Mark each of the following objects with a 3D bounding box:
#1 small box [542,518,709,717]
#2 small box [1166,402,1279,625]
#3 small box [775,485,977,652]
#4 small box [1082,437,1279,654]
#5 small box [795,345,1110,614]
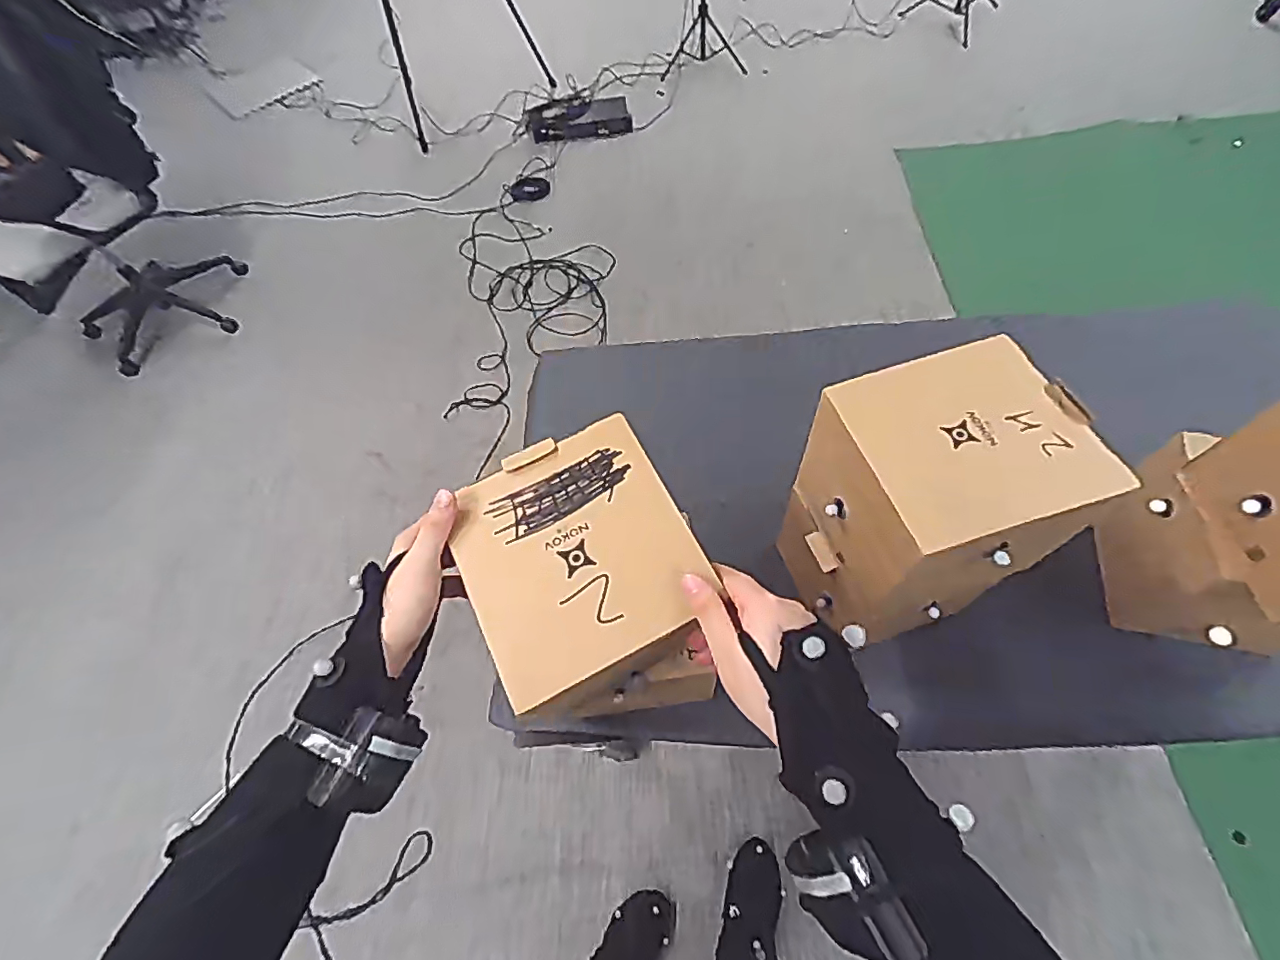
[{"bbox_3d":[-0.017,0.167,0.639,0.168,0.176,0.179,-9,59,1],"label":"small box"},{"bbox_3d":[0.633,0.016,0.461,0.179,0.176,0.168,-6,59,4],"label":"small box"},{"bbox_3d":[0.276,0.089,0.653,0.179,0.176,0.168,-19,60,-5],"label":"small box"},{"bbox_3d":[0.646,0.078,0.613,0.168,0.176,0.179,9,61,12],"label":"small box"},{"bbox_3d":[0.259,0.009,0.509,0.179,0.176,0.168,-16,59,-4],"label":"small box"}]
